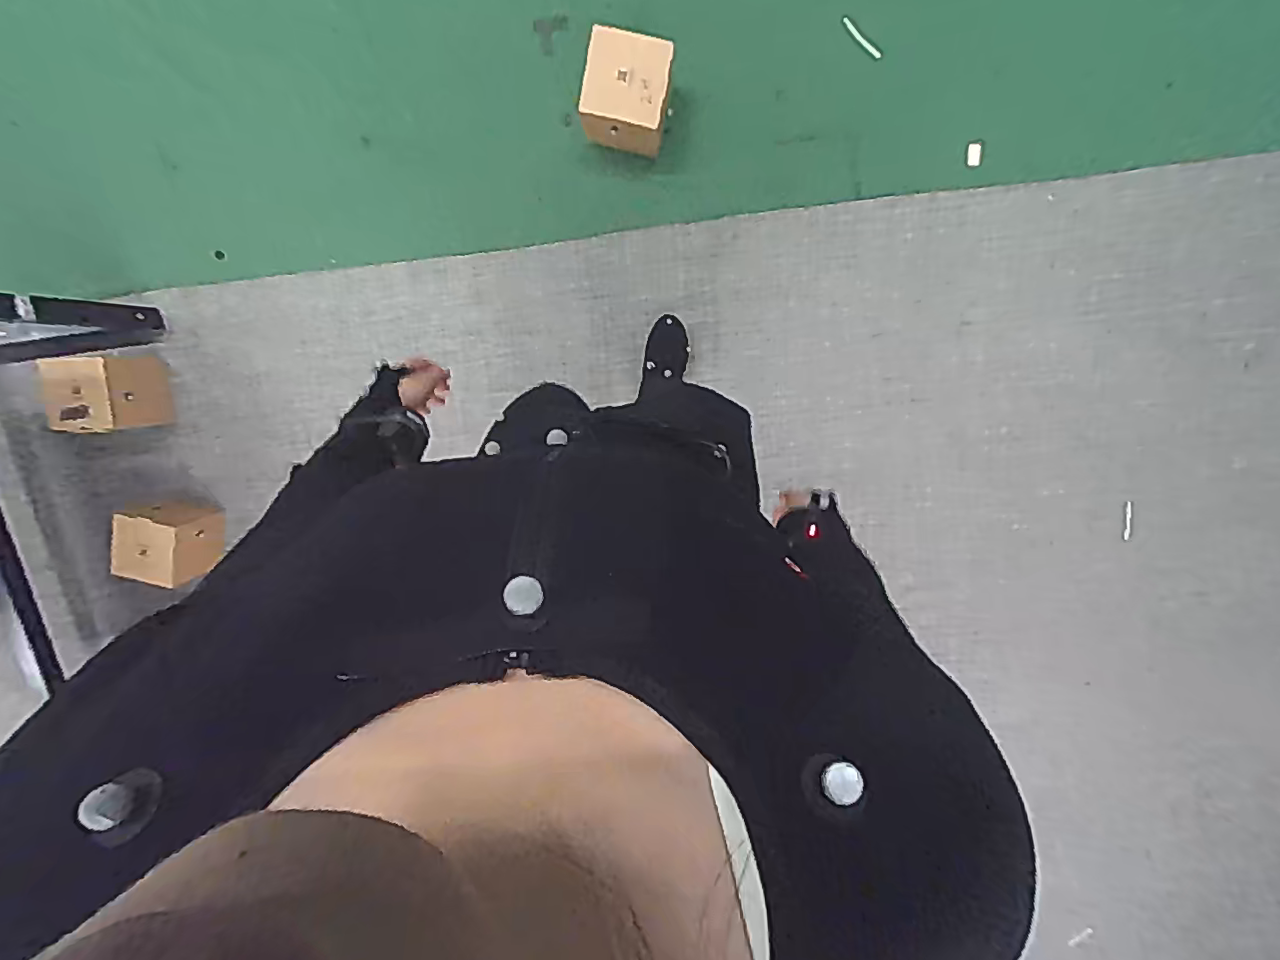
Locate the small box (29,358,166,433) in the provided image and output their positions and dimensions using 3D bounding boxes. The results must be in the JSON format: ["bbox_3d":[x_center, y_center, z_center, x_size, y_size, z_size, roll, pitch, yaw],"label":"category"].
[{"bbox_3d":[-1.360,-0.218,1.371,0.168,0.176,0.179,-1,102,1],"label":"small box"}]

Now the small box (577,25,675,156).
[{"bbox_3d":[-0.029,-0.848,1.197,0.179,0.176,0.168,13,103,-2],"label":"small box"}]

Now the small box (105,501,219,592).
[{"bbox_3d":[-1.277,0.171,1.456,0.168,0.176,0.179,14,104,-1],"label":"small box"}]
